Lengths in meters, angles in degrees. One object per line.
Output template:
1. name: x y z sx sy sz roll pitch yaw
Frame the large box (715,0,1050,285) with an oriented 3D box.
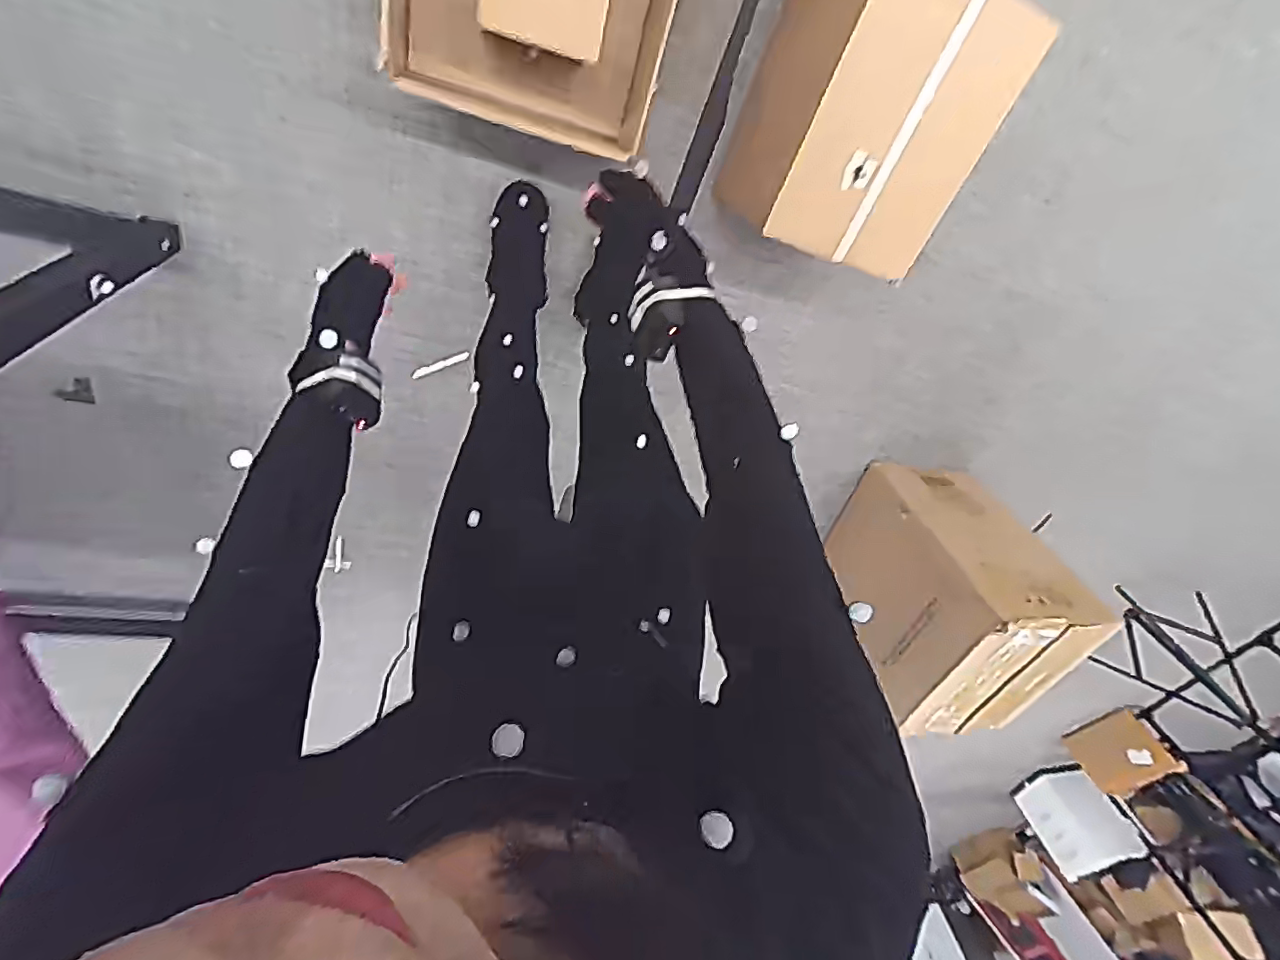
1. large box: 0.383 -0.635 0.971 0.320 0.320 0.408 10 127 -20
